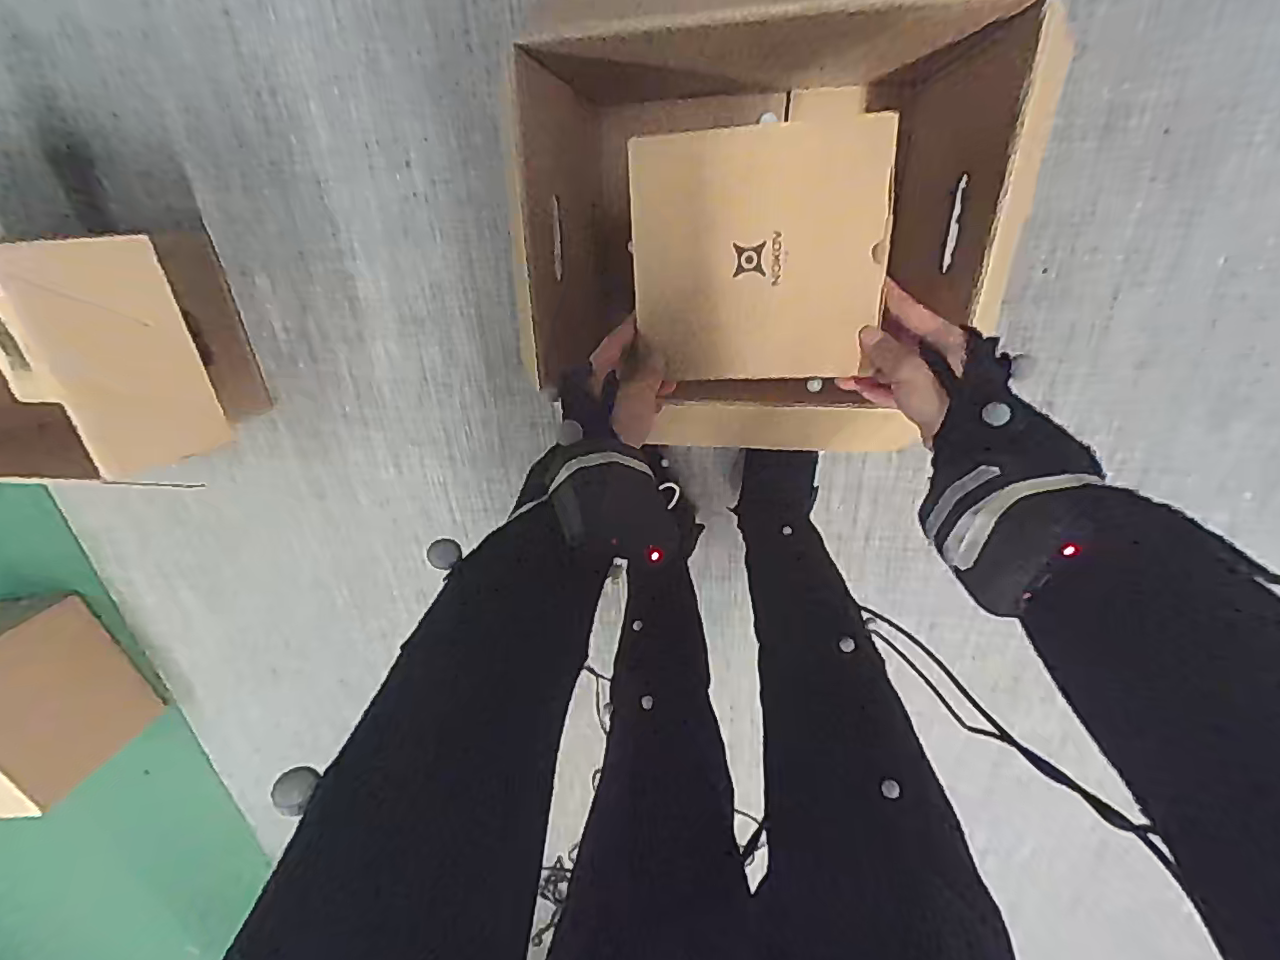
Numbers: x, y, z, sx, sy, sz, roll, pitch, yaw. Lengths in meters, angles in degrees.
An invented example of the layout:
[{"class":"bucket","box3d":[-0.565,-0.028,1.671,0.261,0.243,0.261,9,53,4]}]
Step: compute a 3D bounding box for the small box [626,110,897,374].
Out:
[{"class":"small box","box3d":[0.092,-0.179,0.450,0.179,0.176,0.168,0,108,9]}]
